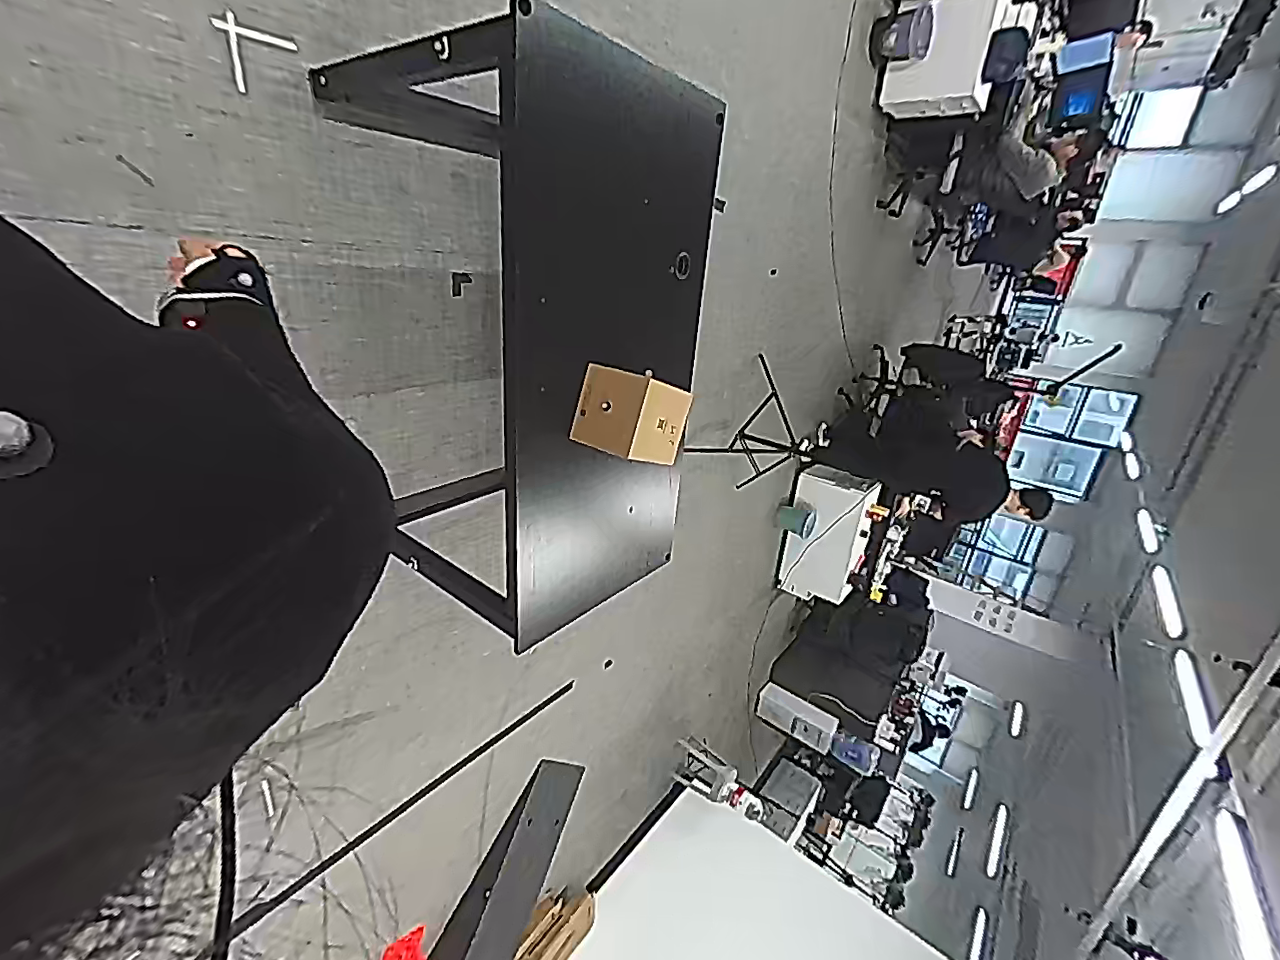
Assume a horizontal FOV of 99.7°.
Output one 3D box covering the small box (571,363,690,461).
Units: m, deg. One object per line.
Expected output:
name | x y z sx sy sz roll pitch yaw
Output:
small box | -0.023 -0.148 1.173 0.179 0.176 0.168 5 103 -56
